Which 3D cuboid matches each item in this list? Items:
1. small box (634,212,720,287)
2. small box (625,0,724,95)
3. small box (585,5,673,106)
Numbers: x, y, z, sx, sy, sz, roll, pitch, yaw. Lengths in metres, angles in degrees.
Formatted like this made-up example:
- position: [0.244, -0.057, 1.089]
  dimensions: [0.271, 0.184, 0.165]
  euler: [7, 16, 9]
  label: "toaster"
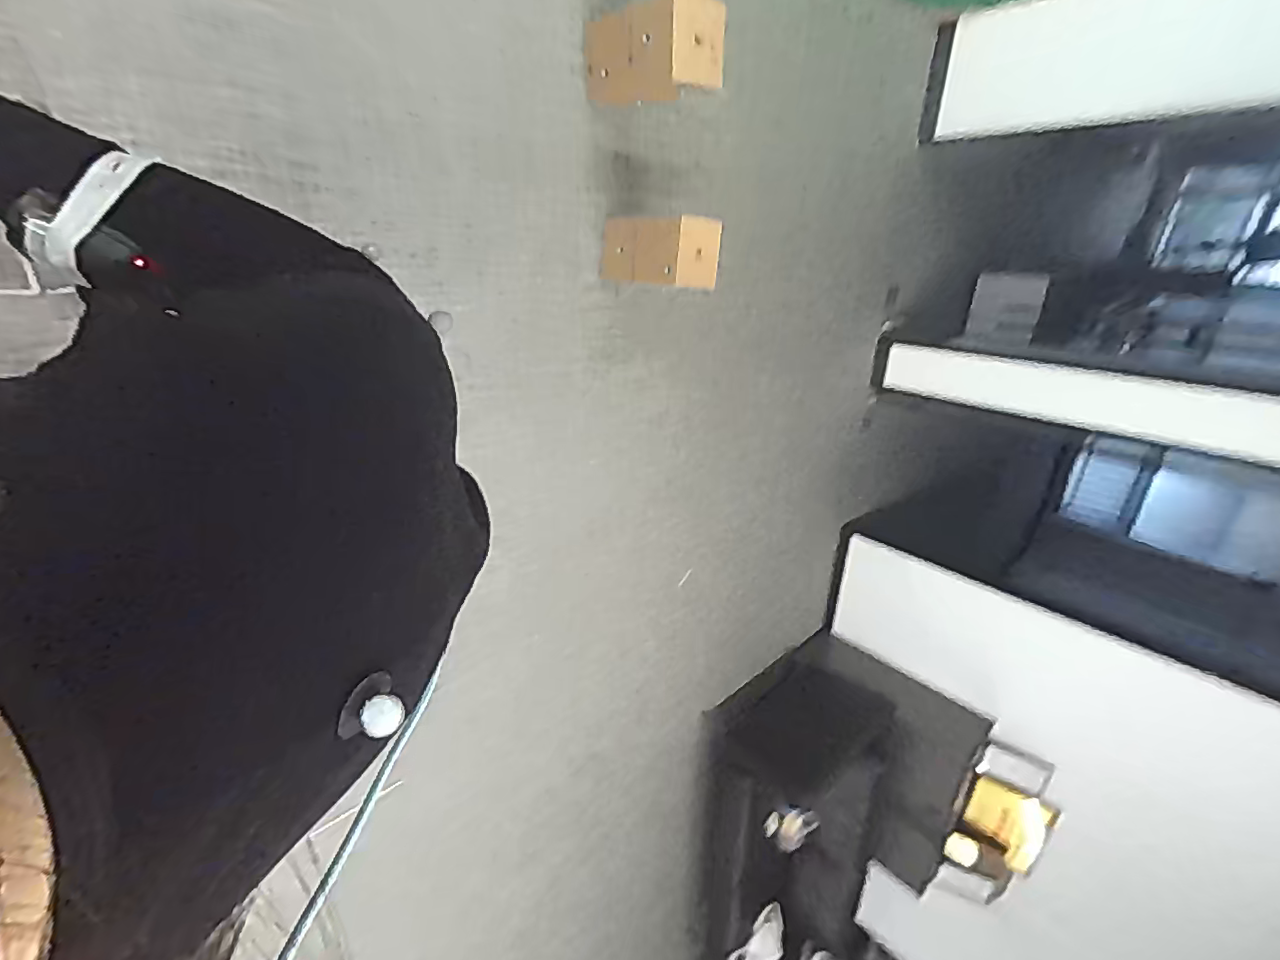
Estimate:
- position: [0.098, -0.636, 1.501]
  dimensions: [0.168, 0.176, 0.179]
  euler: [-15, 119, -40]
  label: "small box"
- position: [0.077, -1.036, 1.290]
  dimensions: [0.179, 0.176, 0.168]
  euler: [-21, 124, -37]
  label: "small box"
- position: [-0.030, -1.088, 1.404]
  dimensions: [0.179, 0.176, 0.168]
  euler: [-20, 123, -38]
  label: "small box"
